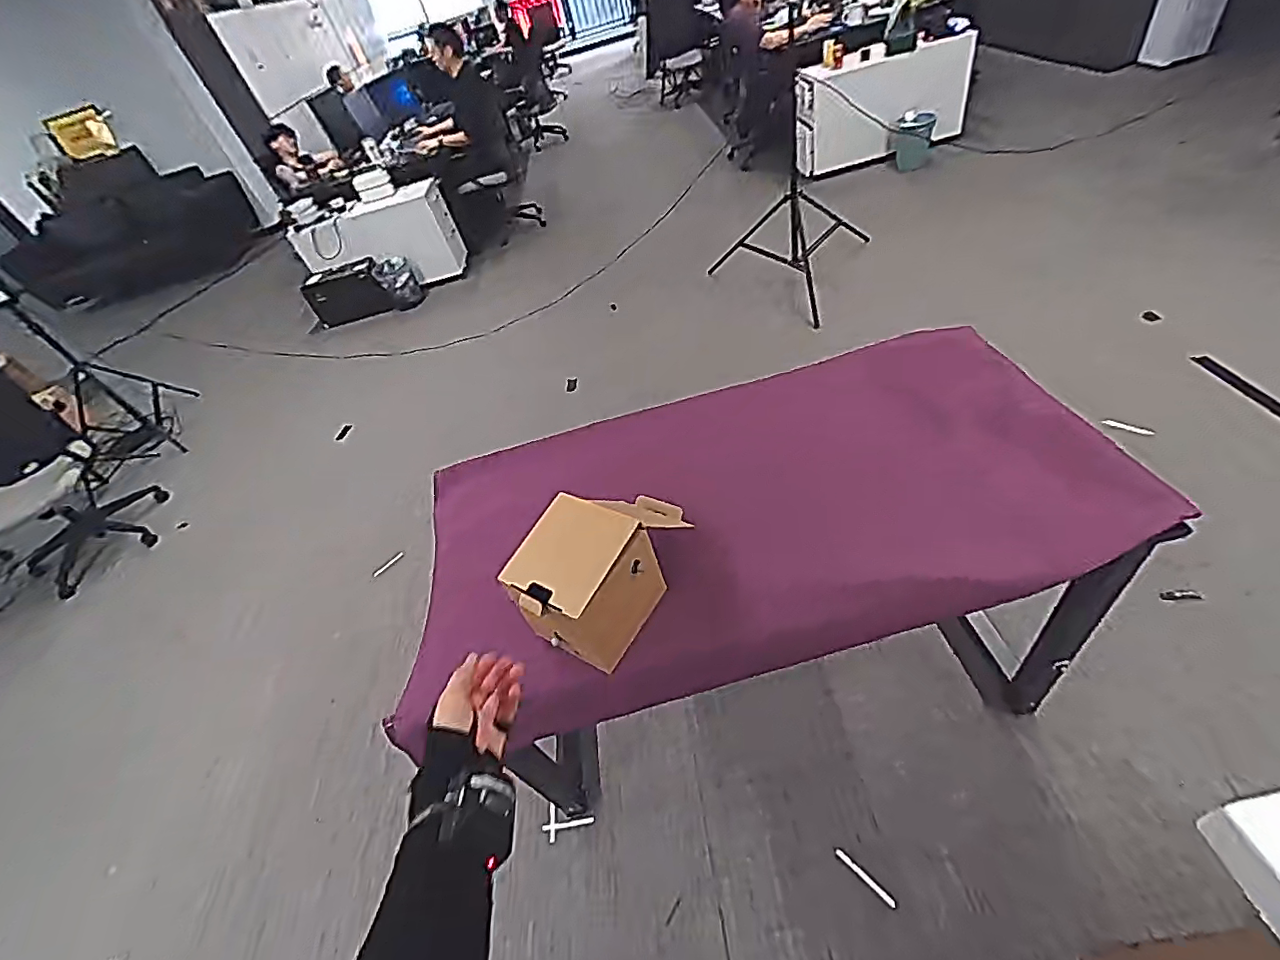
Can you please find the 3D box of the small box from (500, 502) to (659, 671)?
[{"bbox_3d":[-0.085,0.169,0.871,0.168,0.176,0.179,17,53,33],"label":"small box"}]
